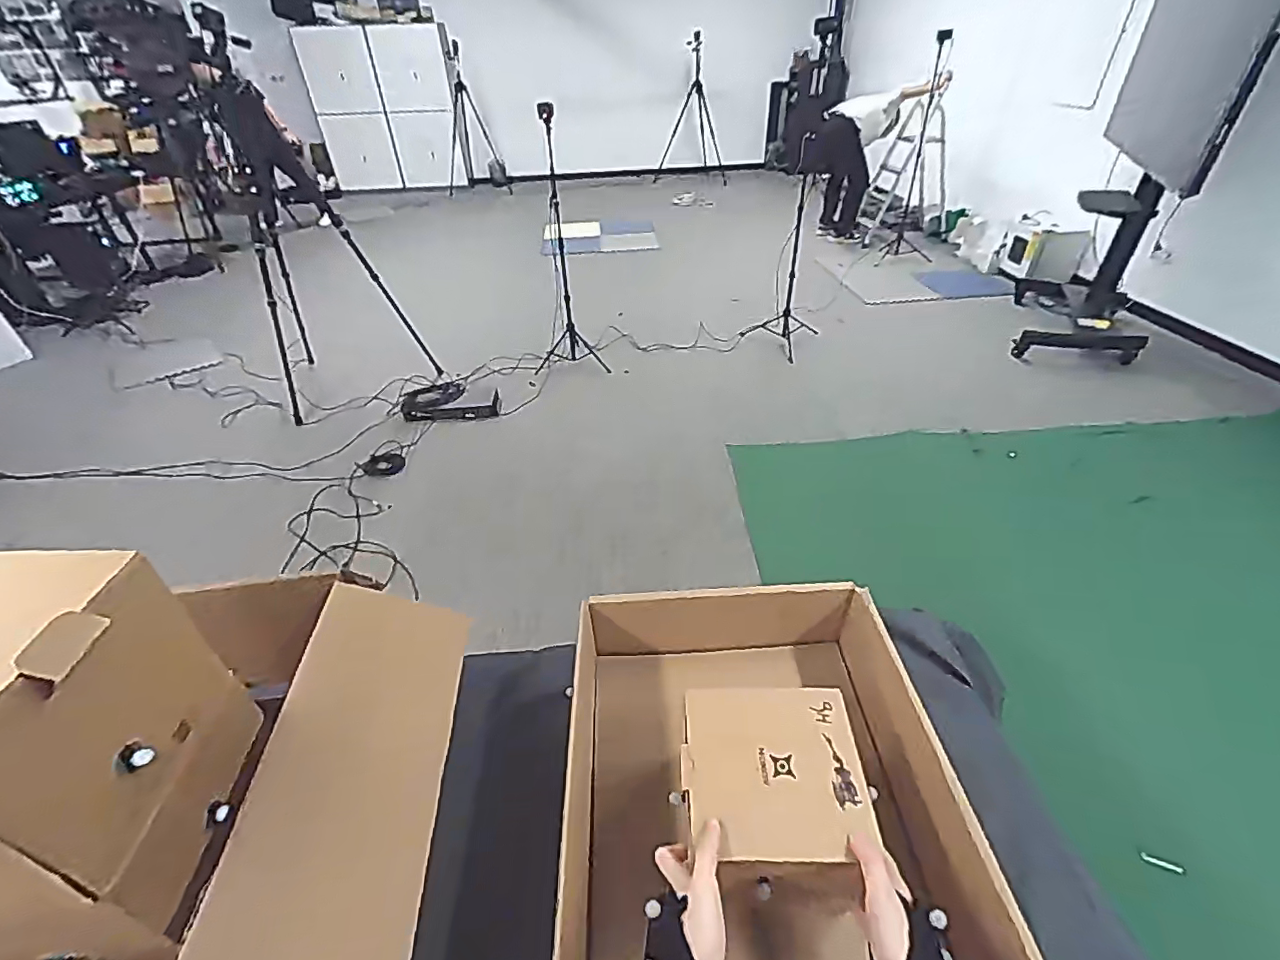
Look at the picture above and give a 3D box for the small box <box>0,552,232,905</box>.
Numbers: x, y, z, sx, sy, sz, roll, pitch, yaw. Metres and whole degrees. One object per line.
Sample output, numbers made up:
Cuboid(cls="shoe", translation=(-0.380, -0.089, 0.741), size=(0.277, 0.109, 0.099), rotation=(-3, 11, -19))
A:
Cuboid(cls="small box", translation=(-0.439, 0.167, 0.370), size=(0.179, 0.176, 0.168), rotation=(0, 36, -5))
